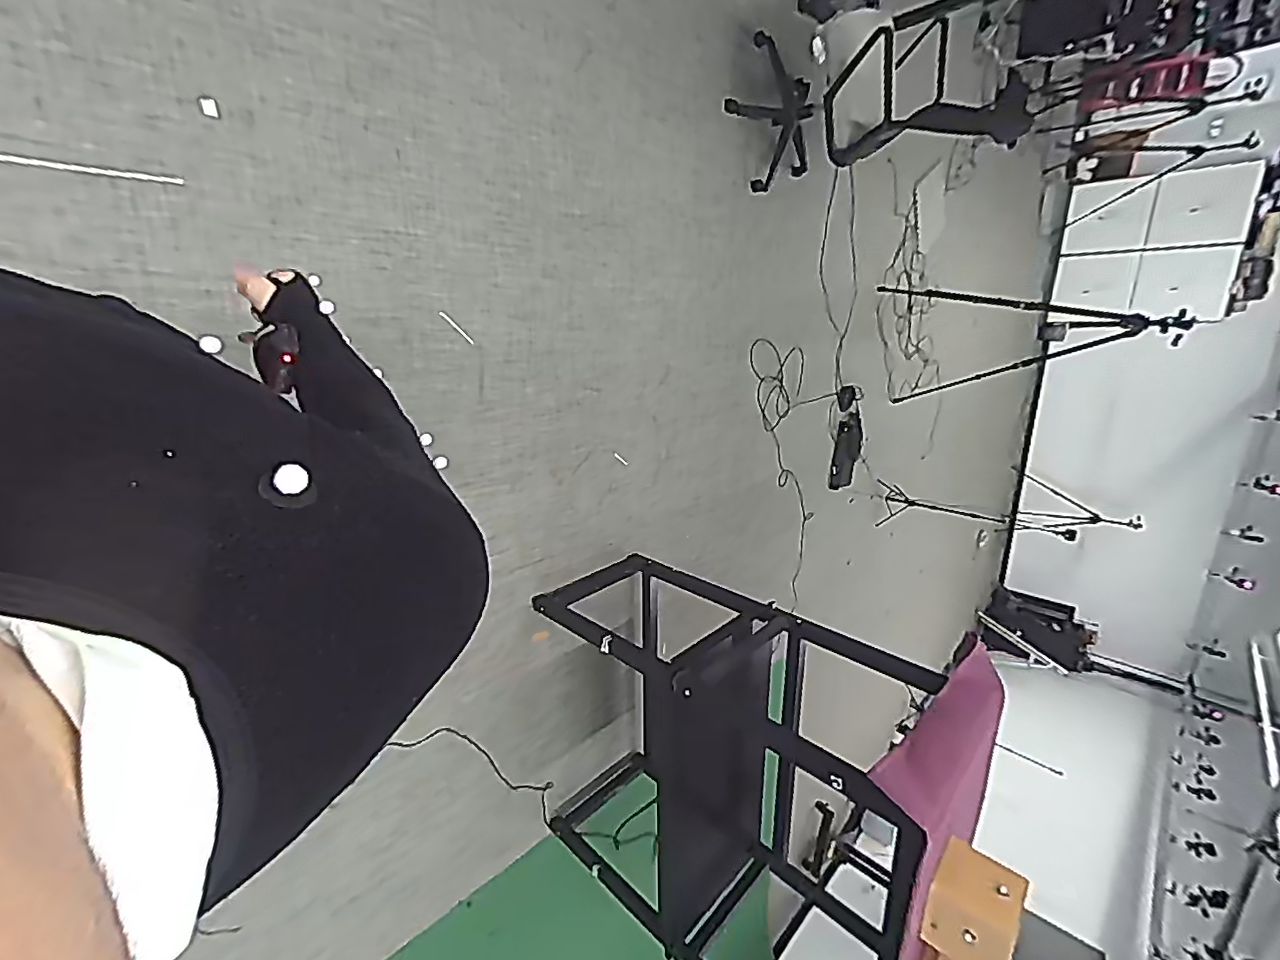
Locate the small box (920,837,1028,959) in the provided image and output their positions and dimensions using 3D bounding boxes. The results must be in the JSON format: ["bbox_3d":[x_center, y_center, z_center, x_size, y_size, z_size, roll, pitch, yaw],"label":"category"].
[{"bbox_3d":[0.765,0.985,1.245,0.179,0.176,0.168,-17,113,-44],"label":"small box"}]
